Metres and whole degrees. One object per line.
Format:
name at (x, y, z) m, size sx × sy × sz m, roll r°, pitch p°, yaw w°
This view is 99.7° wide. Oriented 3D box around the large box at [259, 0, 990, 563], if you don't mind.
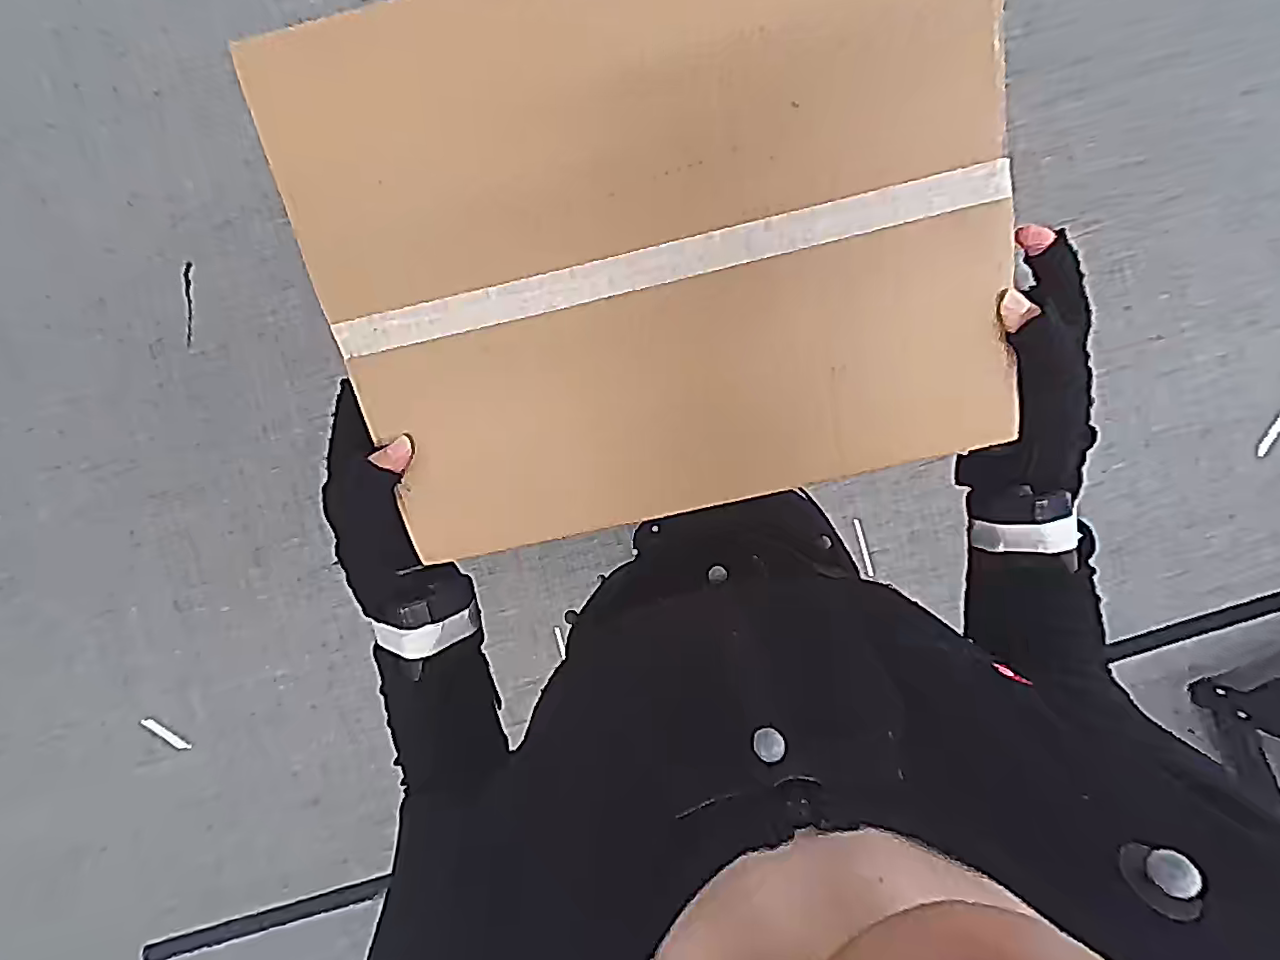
large box at (0.010, -0.169, 0.476) m, size 0.408 × 0.320 × 0.320 m, roll -13°, pitch 105°, yaw 3°
